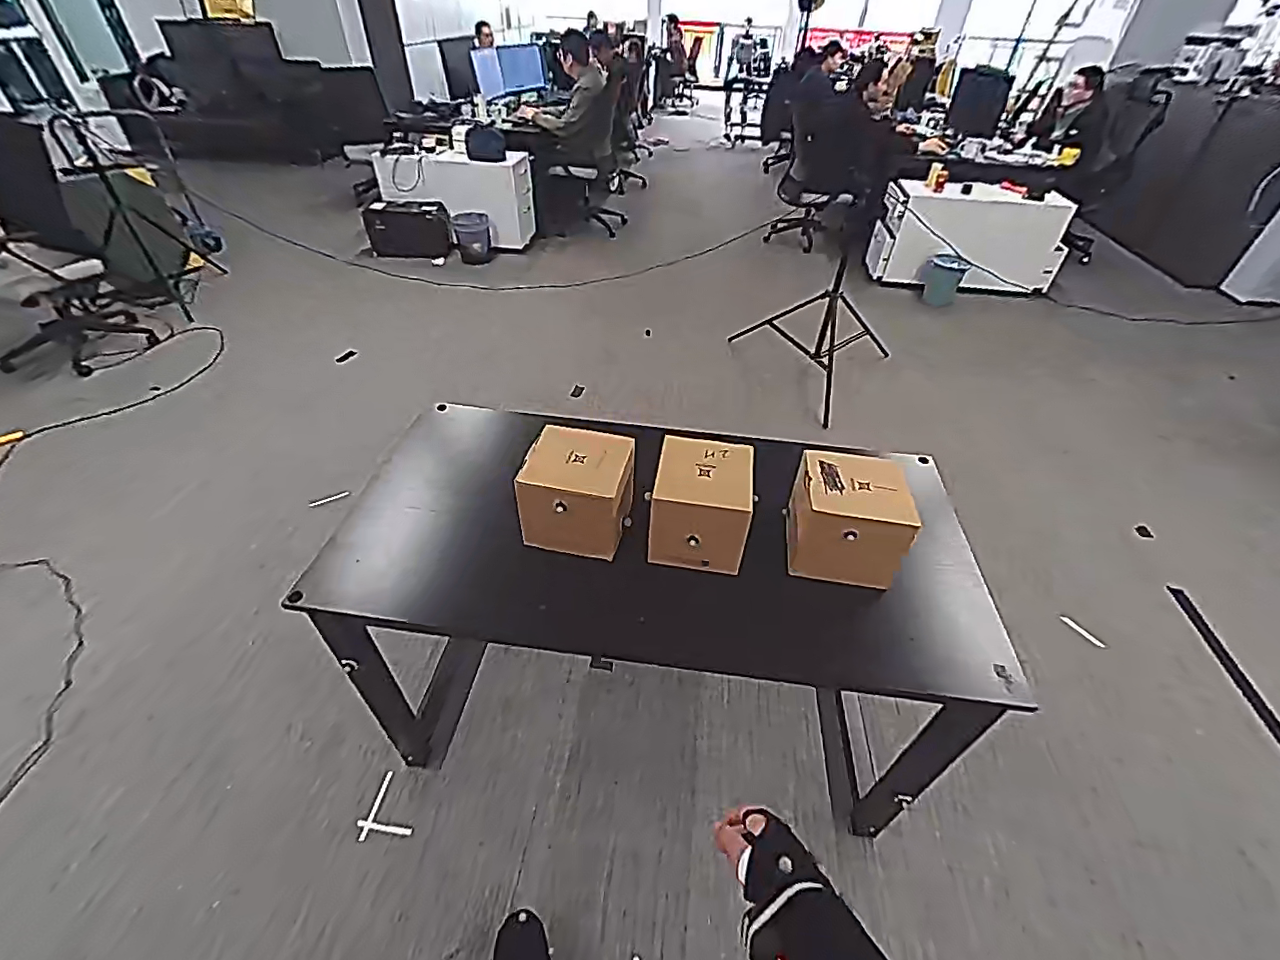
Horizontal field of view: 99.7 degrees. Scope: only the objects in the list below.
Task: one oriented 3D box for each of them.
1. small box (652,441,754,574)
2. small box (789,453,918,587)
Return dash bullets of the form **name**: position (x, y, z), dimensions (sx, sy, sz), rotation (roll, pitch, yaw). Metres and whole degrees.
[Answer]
- **small box**: position (0.115, 0.052, 1.002), dimensions (0.168, 0.176, 0.179), rotation (8, 42, 5)
- **small box**: position (0.373, 0.075, 0.987), dimensions (0.179, 0.176, 0.168), rotation (9, 42, 5)
